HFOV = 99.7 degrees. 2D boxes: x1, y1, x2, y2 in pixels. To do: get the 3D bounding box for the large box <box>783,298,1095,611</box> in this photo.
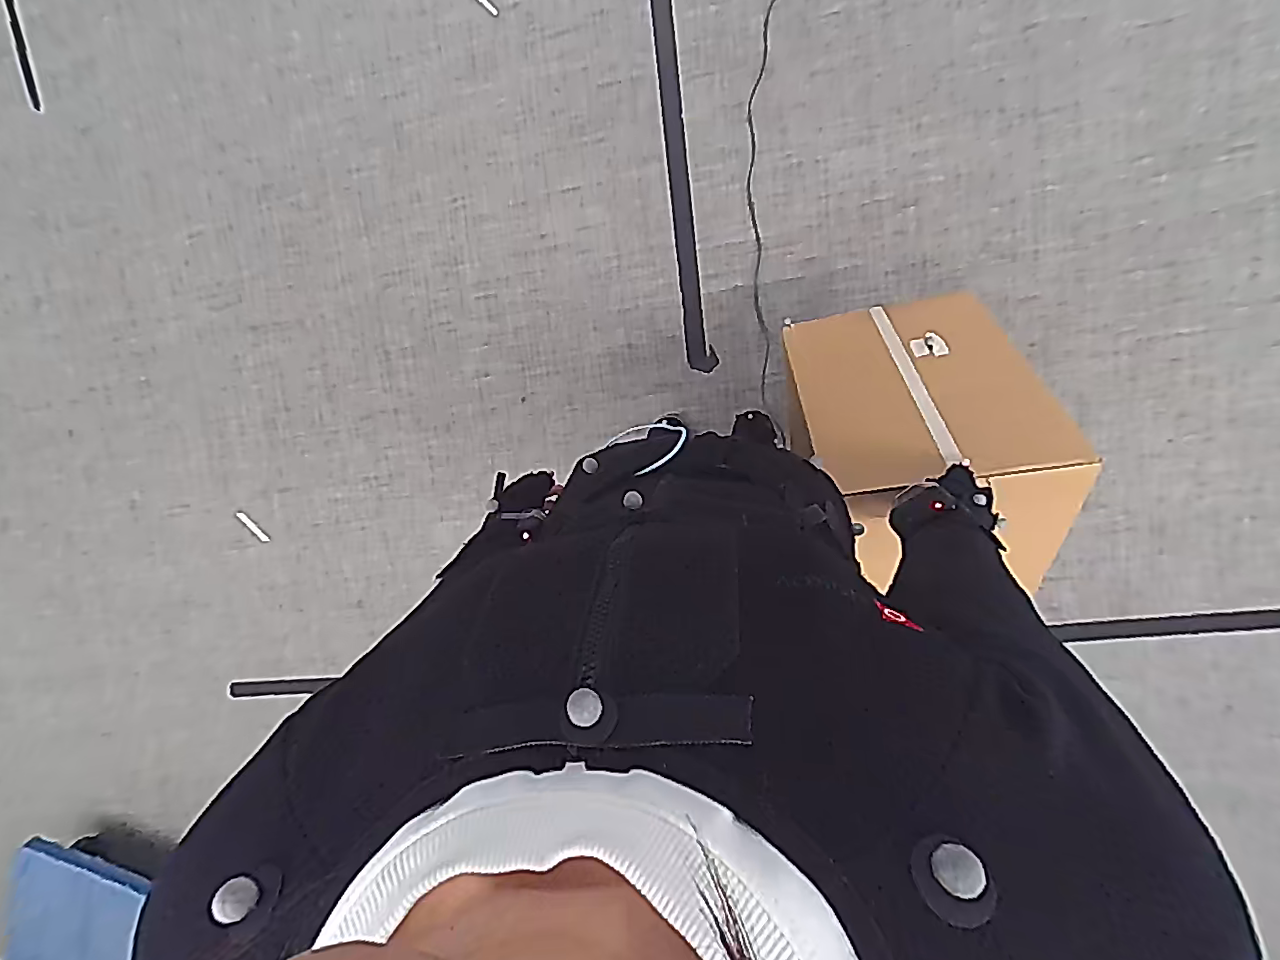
[{"bbox_3d":[0.439,-0.043,0.912,0.320,0.408,0.320,-8,135,10],"label":"large box"}]
